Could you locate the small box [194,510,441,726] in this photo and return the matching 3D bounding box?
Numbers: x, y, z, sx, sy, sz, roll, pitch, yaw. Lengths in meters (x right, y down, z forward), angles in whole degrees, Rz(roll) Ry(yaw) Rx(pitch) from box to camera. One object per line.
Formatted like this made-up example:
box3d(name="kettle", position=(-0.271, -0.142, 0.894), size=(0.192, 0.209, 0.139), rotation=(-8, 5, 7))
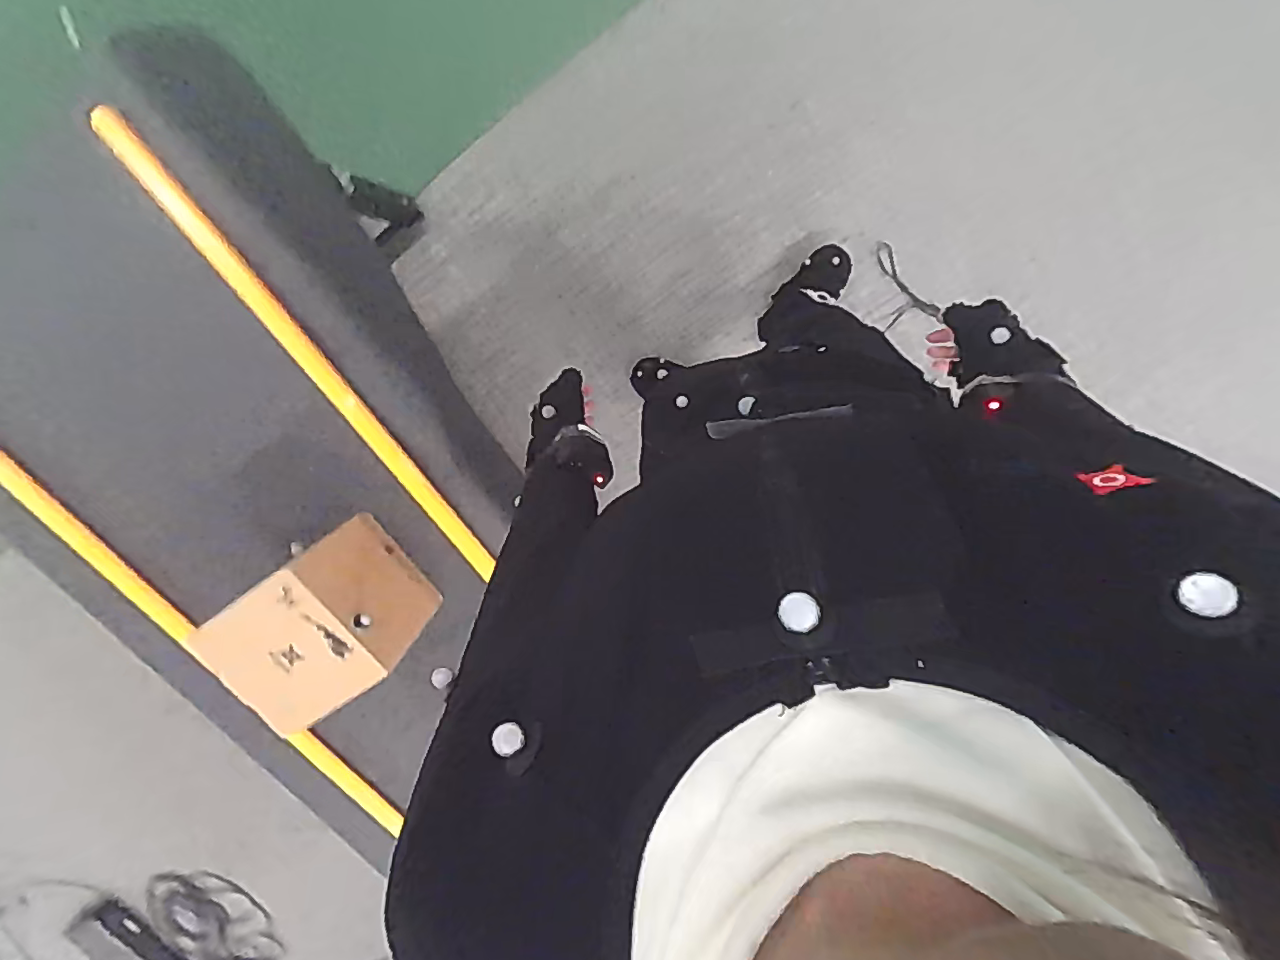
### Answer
box3d(name="small box", position=(-0.396, 0.168, 0.698), size=(0.179, 0.176, 0.168), rotation=(-33, 105, 14))
